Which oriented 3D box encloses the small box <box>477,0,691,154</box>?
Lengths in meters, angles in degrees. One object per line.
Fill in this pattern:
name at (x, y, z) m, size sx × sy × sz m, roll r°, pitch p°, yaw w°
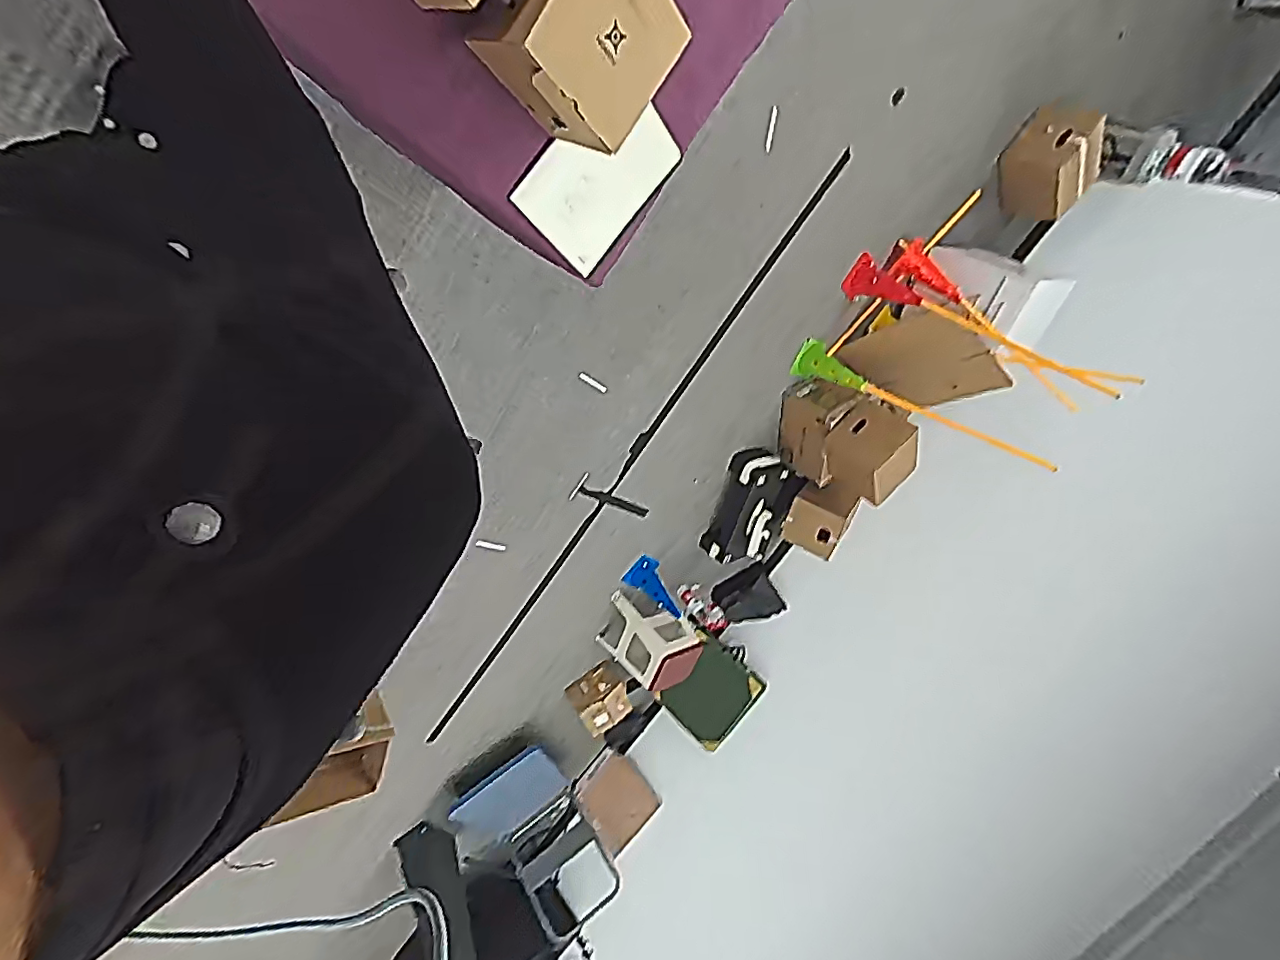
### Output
small box at (-0.077, -0.552, 0.672) m, size 0.179 × 0.176 × 0.168 m, roll -54°, pitch 142°, yaw 8°
